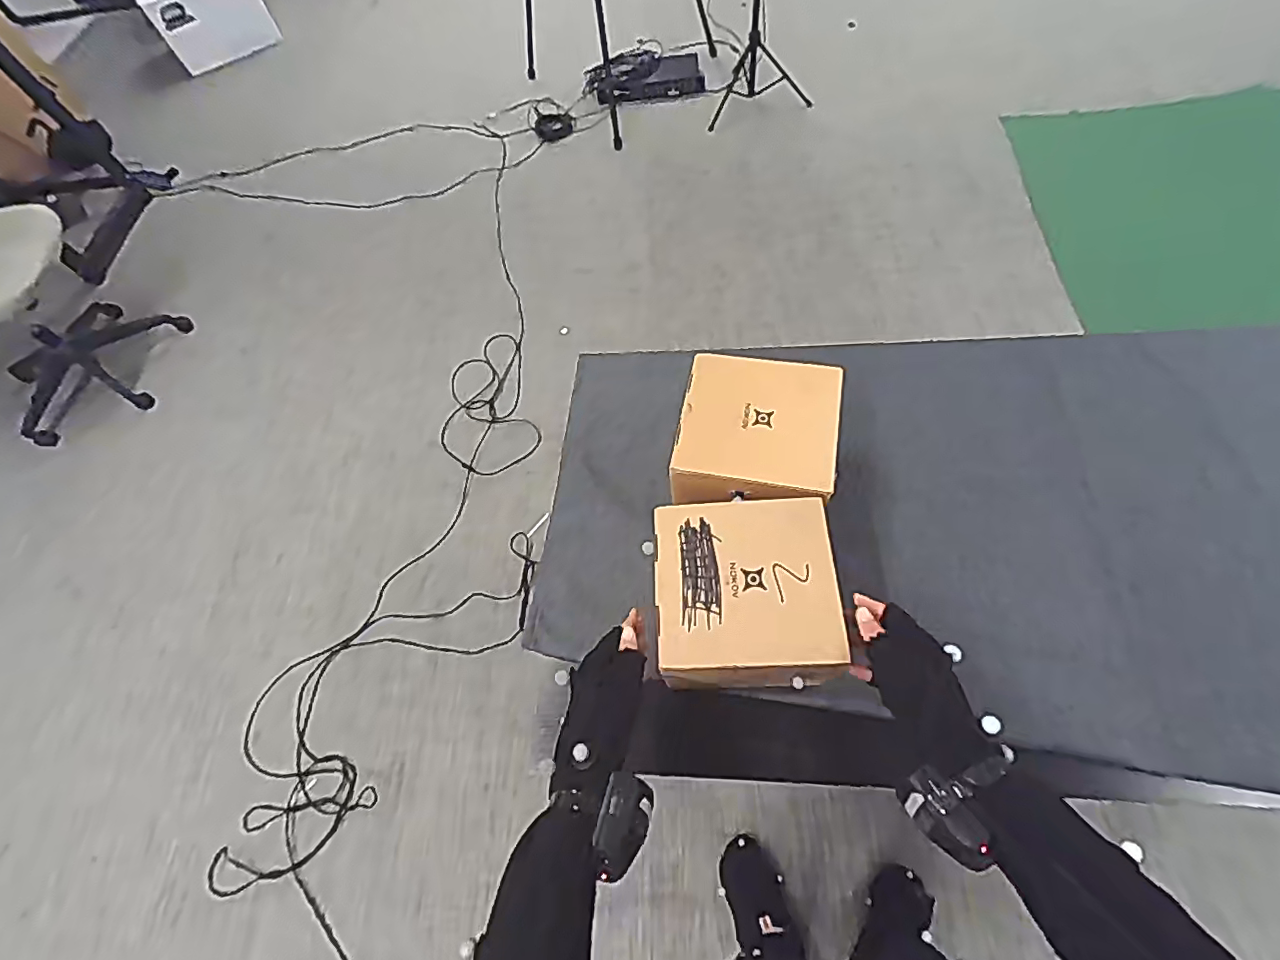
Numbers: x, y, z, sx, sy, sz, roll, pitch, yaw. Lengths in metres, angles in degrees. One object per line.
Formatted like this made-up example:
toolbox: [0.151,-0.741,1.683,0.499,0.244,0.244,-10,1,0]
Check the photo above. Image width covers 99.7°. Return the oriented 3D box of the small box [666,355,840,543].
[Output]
small box: [0.139,-0.032,0.678,0.179,0.176,0.168,8,64,12]
